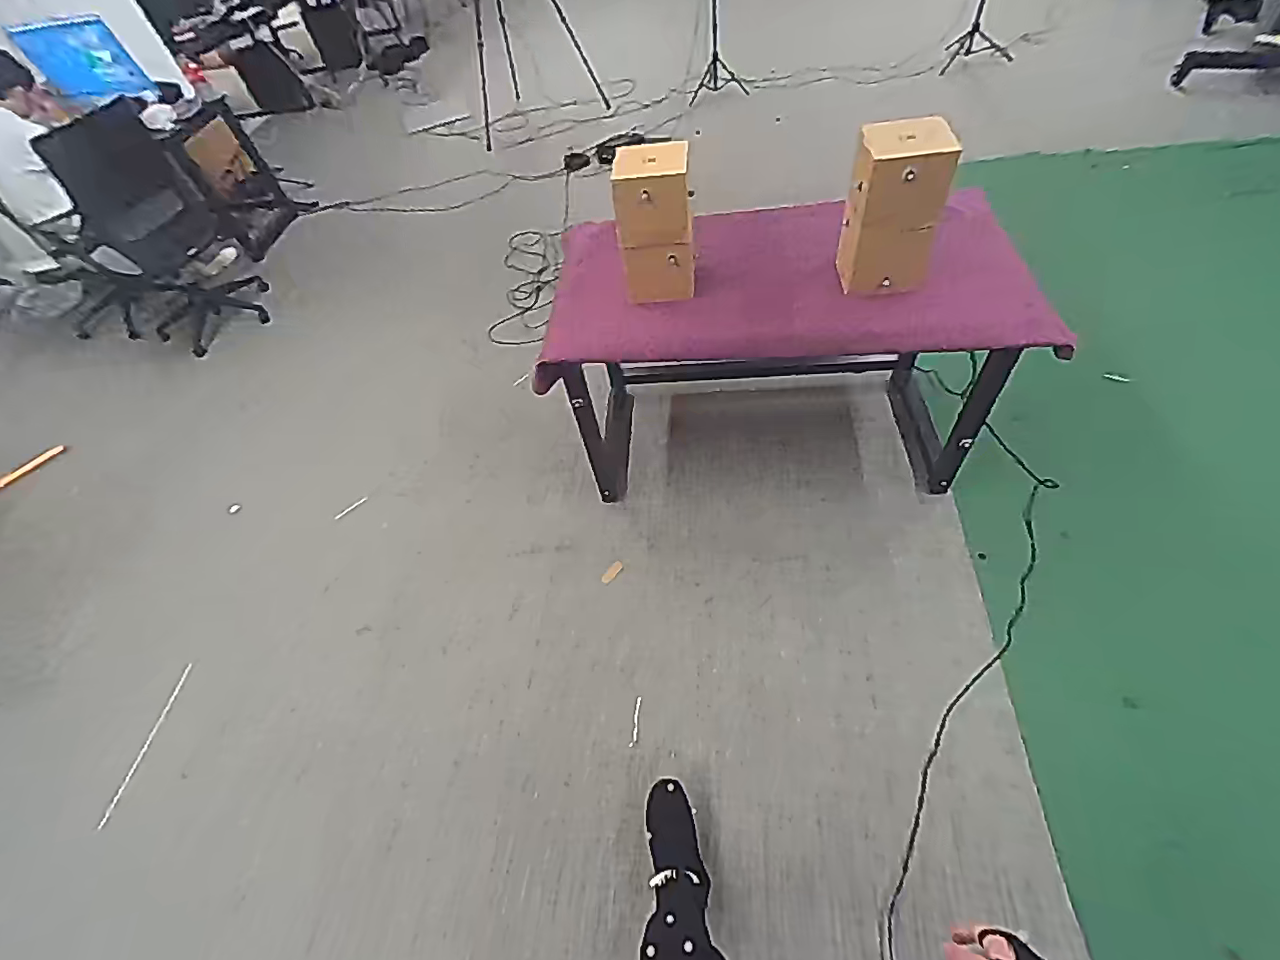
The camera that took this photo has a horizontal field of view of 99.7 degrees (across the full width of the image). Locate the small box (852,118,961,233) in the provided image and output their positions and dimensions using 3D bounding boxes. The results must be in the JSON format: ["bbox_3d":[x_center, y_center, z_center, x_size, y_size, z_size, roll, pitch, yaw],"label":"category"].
[{"bbox_3d":[0.582,-0.674,1.211,0.179,0.176,0.168,-1,54,10],"label":"small box"}]

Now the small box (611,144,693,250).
[{"bbox_3d":[0.037,-0.684,1.316,0.179,0.176,0.168,-1,54,10],"label":"small box"}]

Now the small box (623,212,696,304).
[{"bbox_3d":[0.060,-0.591,1.447,0.179,0.176,0.168,0,53,9],"label":"small box"}]

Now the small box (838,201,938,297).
[{"bbox_3d":[0.604,-0.576,1.340,0.179,0.176,0.168,-2,53,9],"label":"small box"}]
